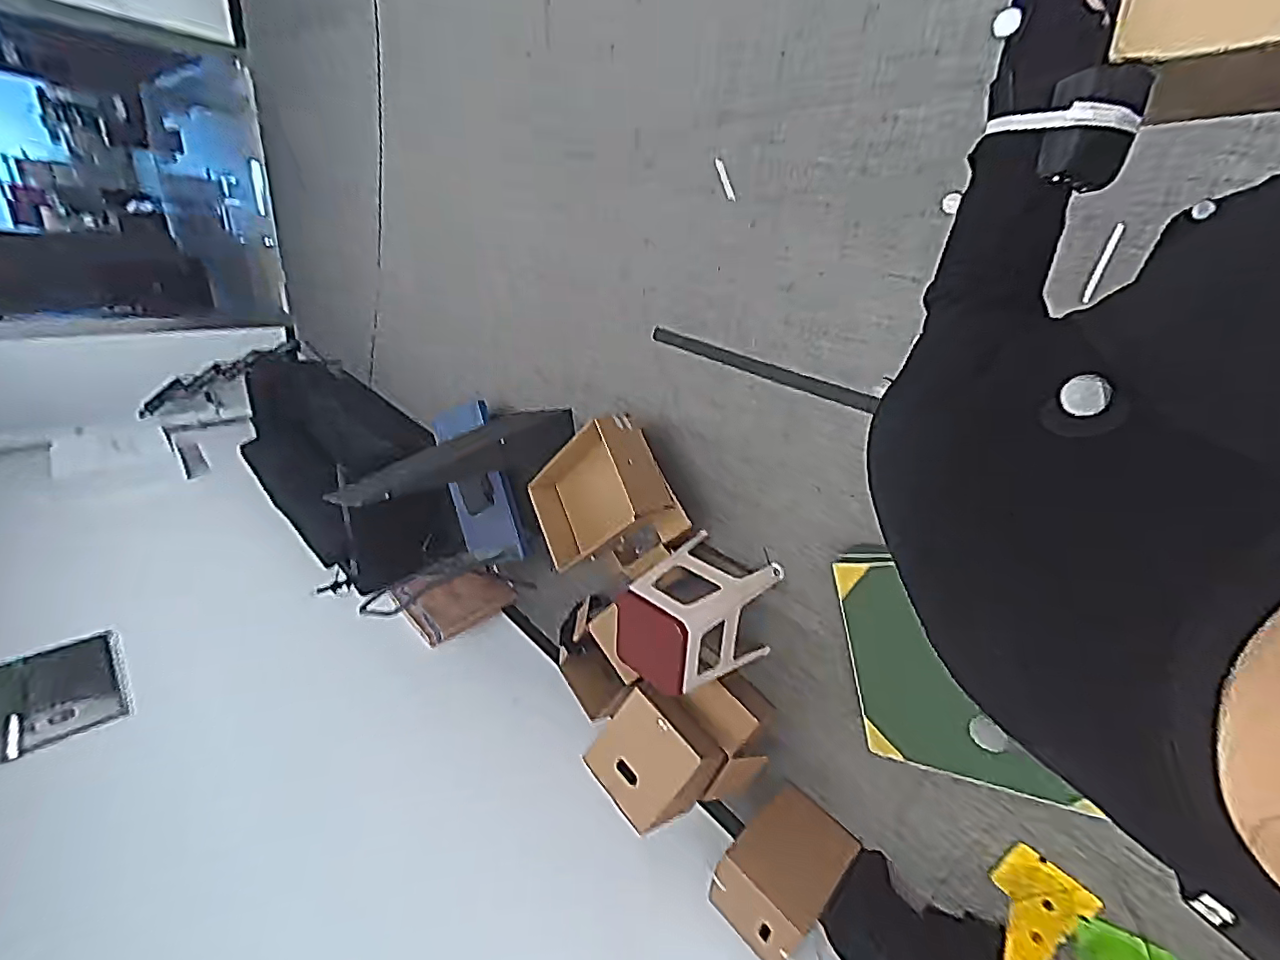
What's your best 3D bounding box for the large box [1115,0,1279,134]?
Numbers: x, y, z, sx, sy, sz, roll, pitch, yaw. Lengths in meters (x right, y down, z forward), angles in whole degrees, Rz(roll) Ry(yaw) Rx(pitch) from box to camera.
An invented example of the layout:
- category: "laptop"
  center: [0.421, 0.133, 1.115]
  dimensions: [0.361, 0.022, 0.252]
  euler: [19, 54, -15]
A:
- category: "large box"
  center: [0.559, -0.409, 0.287]
  dimensions: [0.408, 0.320, 0.320]
  euler: [19, 121, 38]
